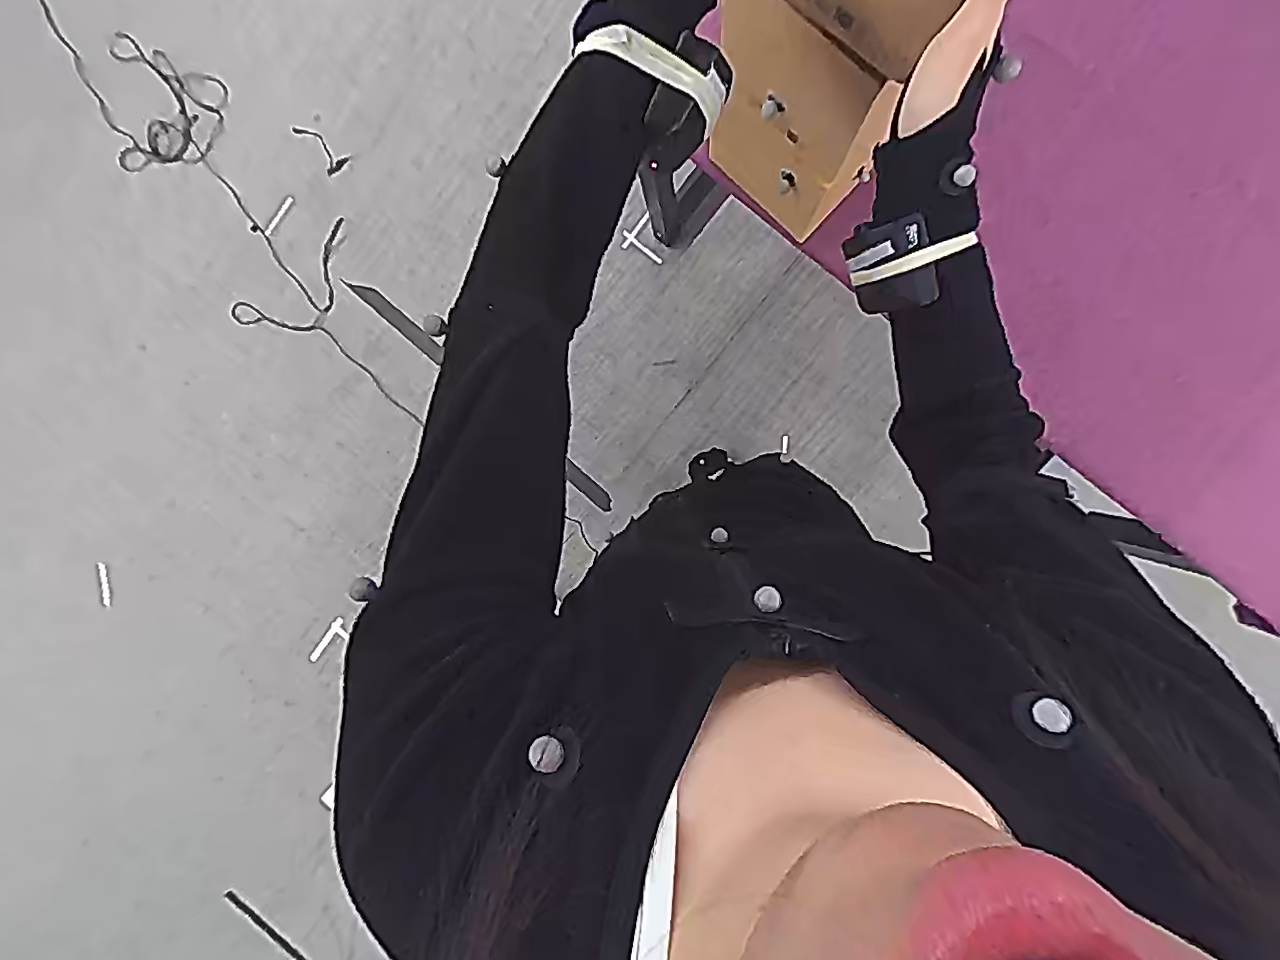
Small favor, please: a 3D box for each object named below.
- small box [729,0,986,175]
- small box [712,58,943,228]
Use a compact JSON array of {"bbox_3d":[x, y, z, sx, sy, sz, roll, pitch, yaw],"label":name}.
[{"bbox_3d":[0.192,-0.423,0.478,0.168,0.176,0.179,44,99,2],"label":"small box"},{"bbox_3d":[0.204,-0.432,0.642,0.179,0.176,0.168,44,98,2],"label":"small box"}]
